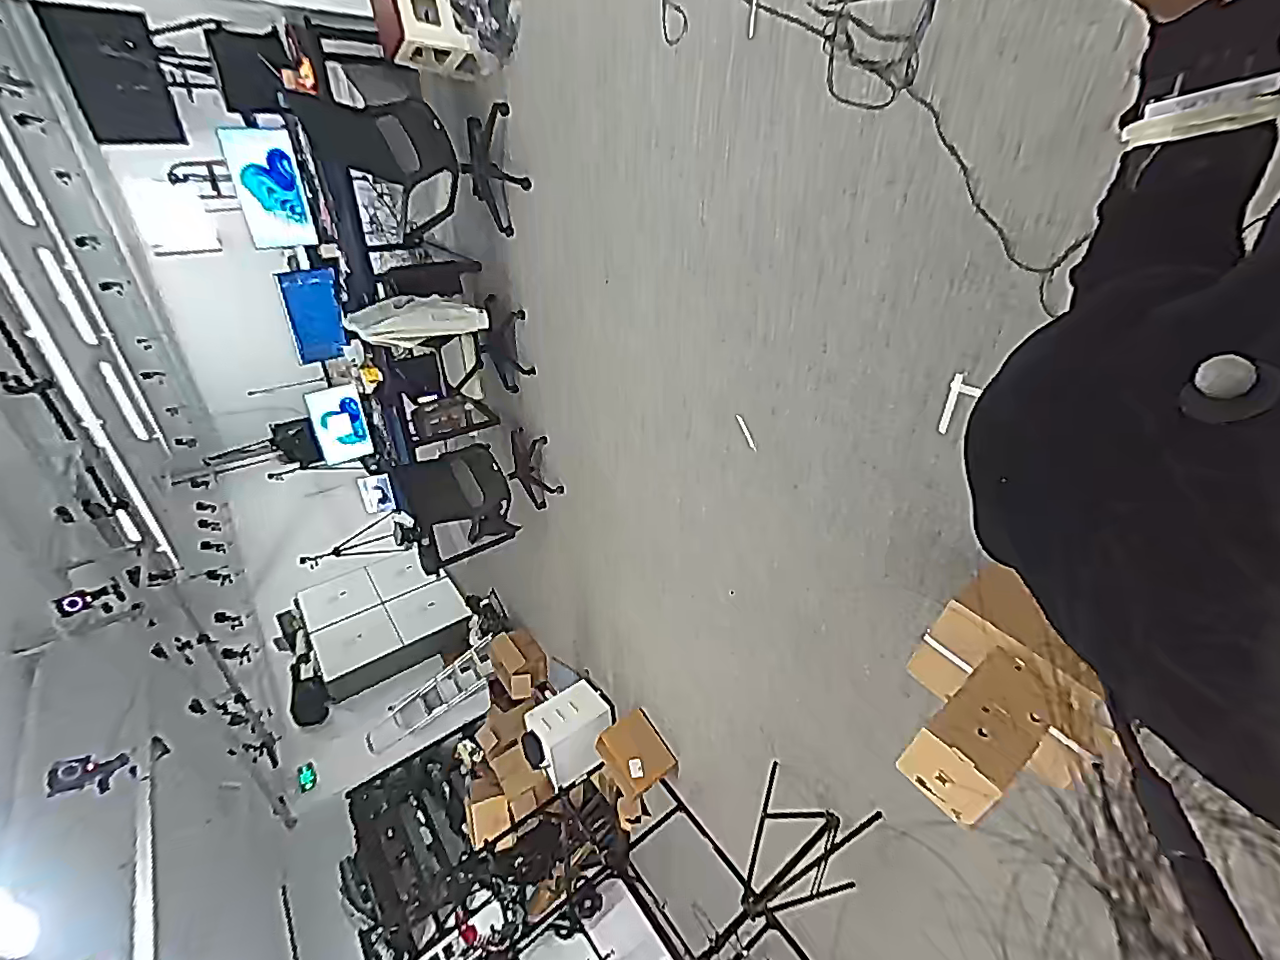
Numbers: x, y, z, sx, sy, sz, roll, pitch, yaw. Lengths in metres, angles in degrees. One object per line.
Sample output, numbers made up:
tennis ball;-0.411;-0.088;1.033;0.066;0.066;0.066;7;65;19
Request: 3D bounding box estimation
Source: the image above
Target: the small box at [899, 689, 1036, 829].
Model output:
small box;0.698;0.584;1.151;0.168;0.176;0.179;41;138;37
